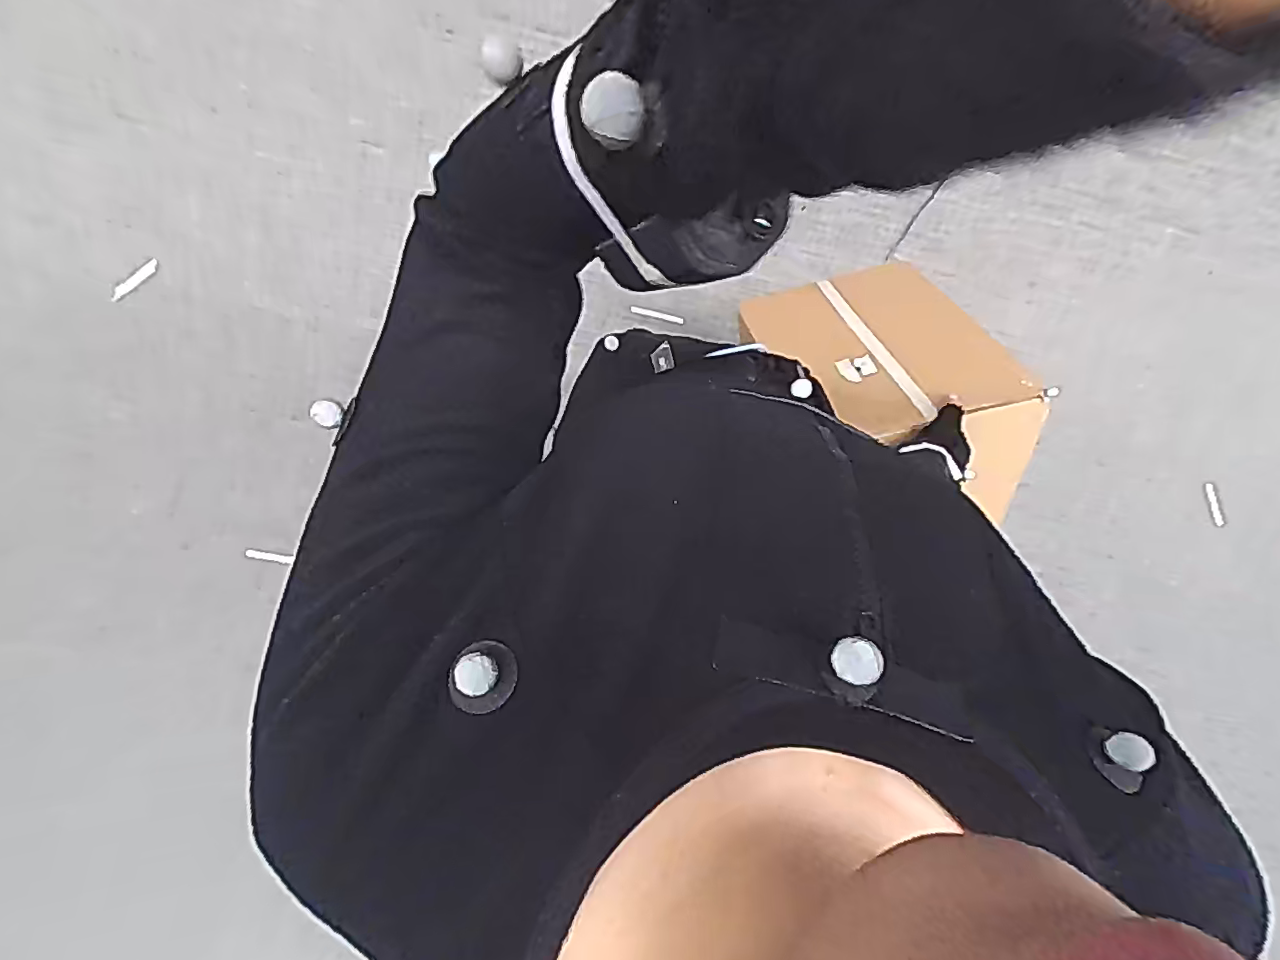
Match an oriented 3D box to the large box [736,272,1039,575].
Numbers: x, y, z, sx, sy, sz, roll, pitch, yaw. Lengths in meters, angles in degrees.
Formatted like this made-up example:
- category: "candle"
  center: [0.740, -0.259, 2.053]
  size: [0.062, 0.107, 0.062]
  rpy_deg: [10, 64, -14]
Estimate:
- category: "large box"
  center: [0.375, -0.104, 0.955]
  size: [0.320, 0.408, 0.320]
  rpy_deg: [-13, 137, 4]
